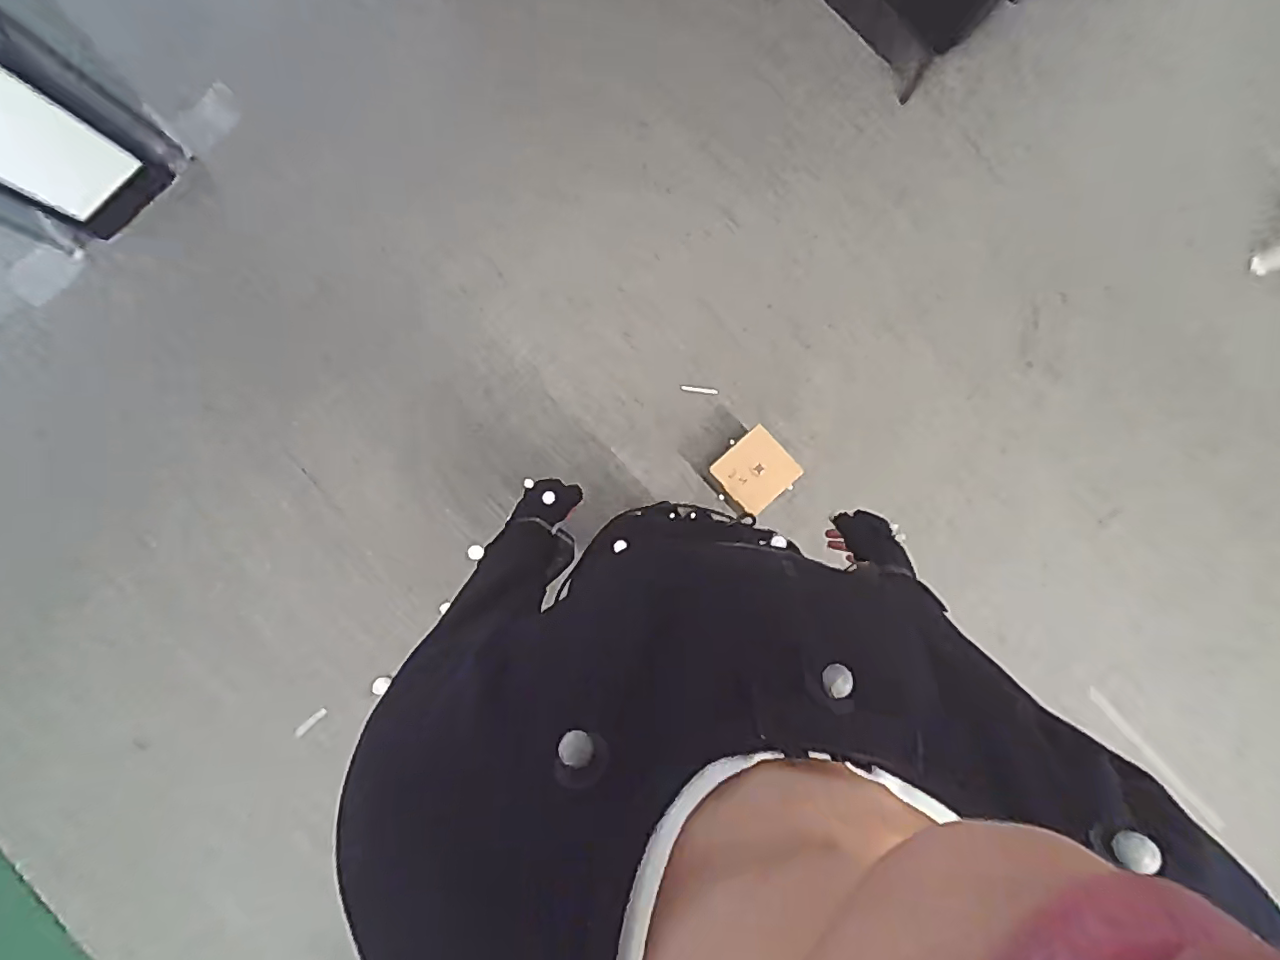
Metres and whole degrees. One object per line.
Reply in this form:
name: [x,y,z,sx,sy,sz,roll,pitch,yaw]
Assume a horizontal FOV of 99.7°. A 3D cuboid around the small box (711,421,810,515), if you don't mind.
small box: [0.301,-0.029,1.401,0.179,0.176,0.168,-41,87,0]
